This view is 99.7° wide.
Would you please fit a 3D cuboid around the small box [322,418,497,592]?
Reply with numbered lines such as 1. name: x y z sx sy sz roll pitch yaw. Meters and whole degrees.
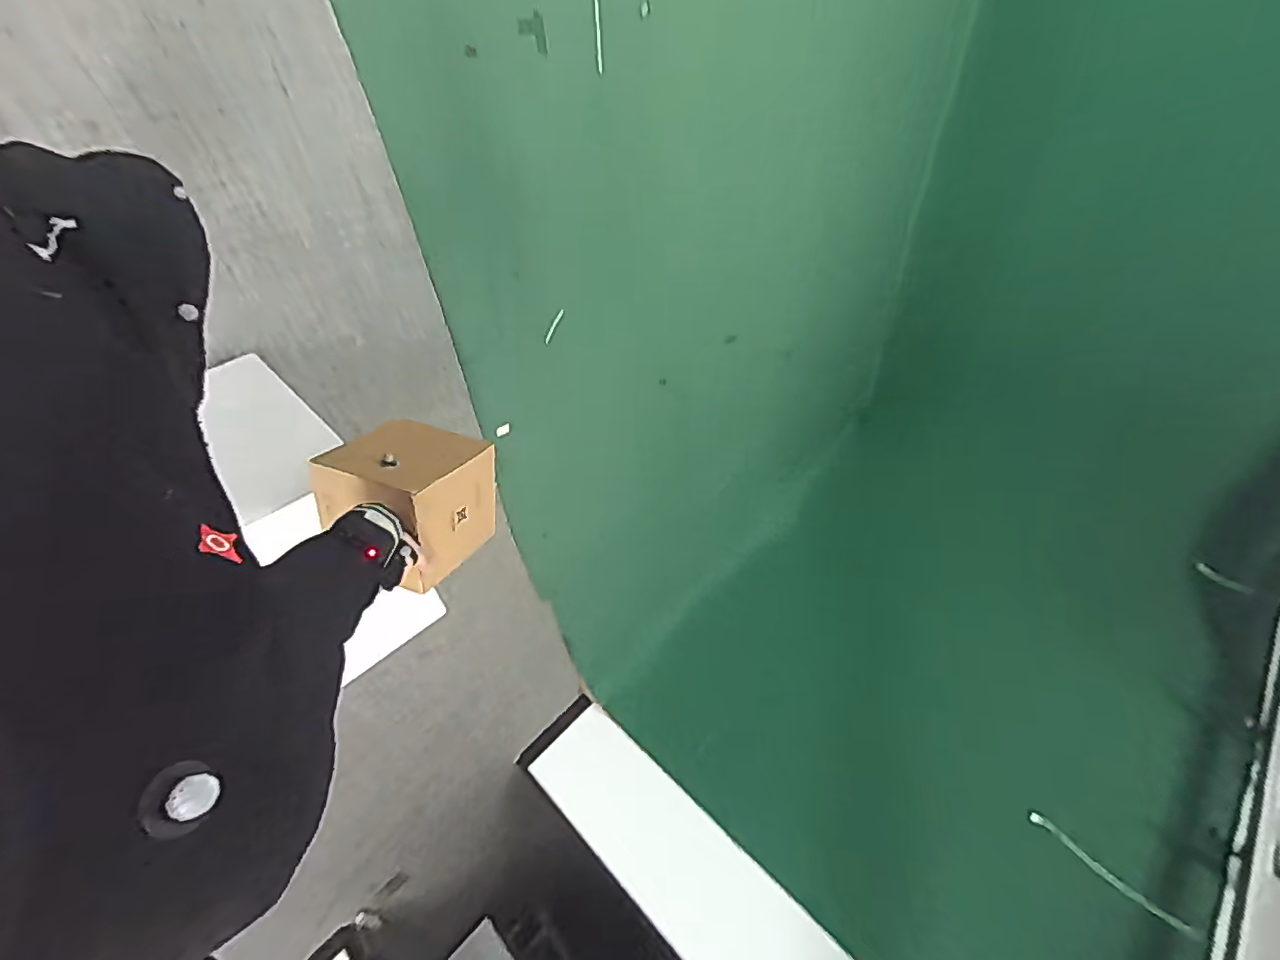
1. small box: -0.326 0.027 0.778 0.179 0.176 0.168 -55 156 -58
